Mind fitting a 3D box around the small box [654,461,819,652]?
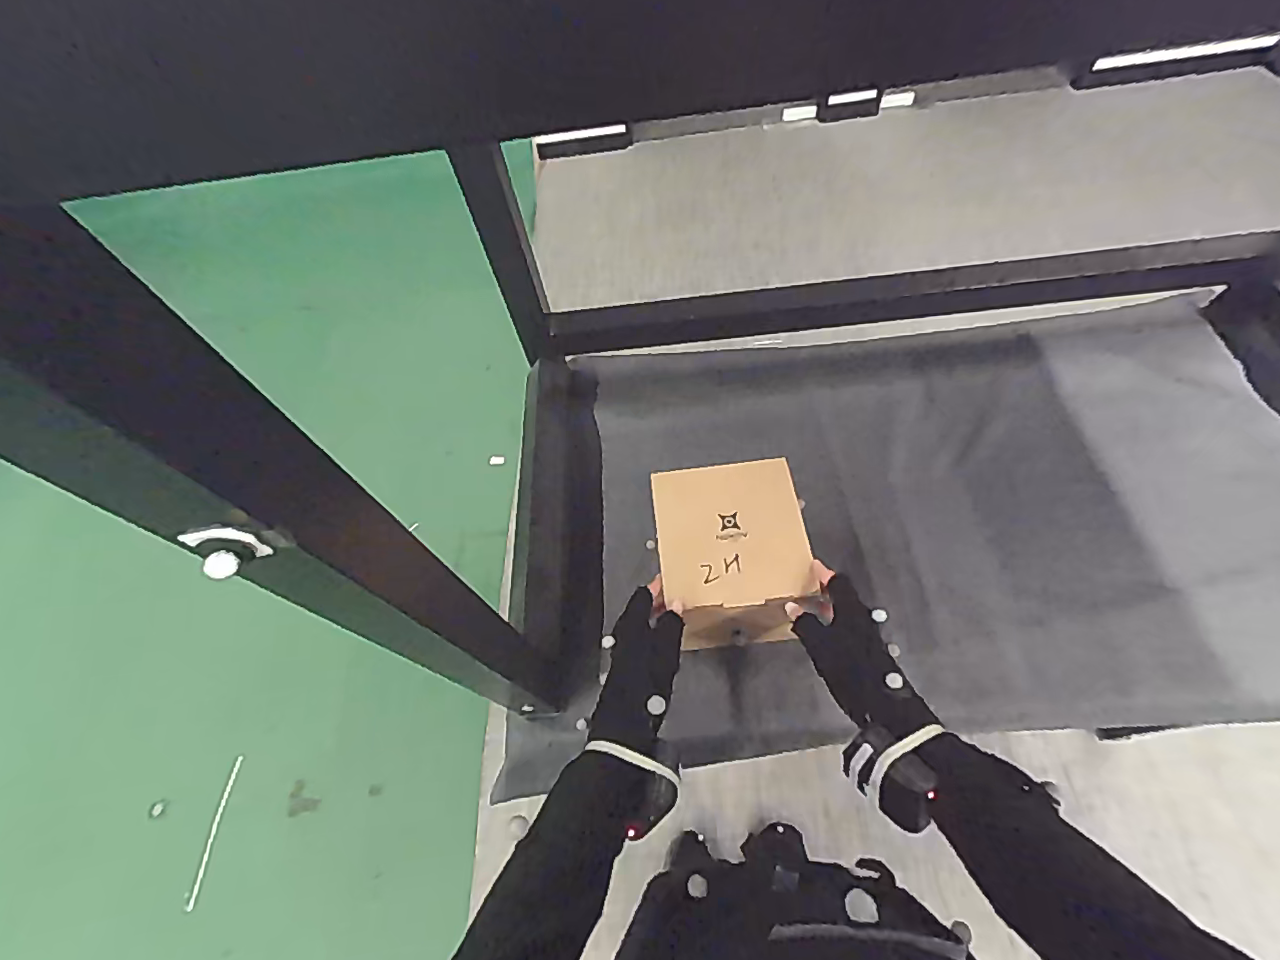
[{"bbox_3d":[0.110,0.100,0.679,0.168,0.176,0.179,-7,57,3],"label":"small box"}]
